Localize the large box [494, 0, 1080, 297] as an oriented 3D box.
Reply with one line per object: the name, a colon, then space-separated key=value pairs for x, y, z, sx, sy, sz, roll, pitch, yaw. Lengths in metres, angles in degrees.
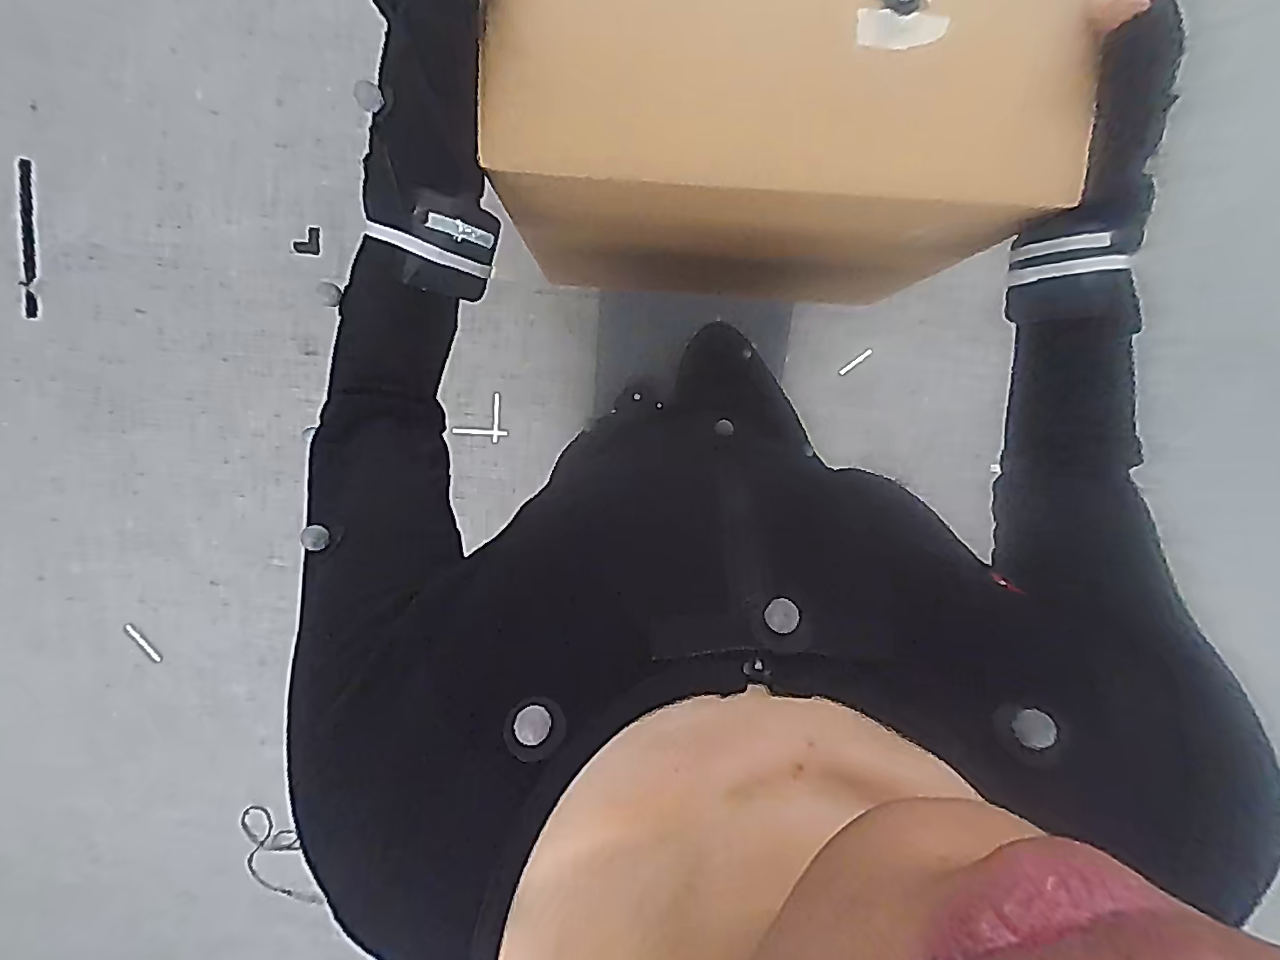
large box: x=0.097 y=-0.372 z=0.510 sx=0.408 sy=0.320 sz=0.320 roll=3 pitch=96 yaw=-2
